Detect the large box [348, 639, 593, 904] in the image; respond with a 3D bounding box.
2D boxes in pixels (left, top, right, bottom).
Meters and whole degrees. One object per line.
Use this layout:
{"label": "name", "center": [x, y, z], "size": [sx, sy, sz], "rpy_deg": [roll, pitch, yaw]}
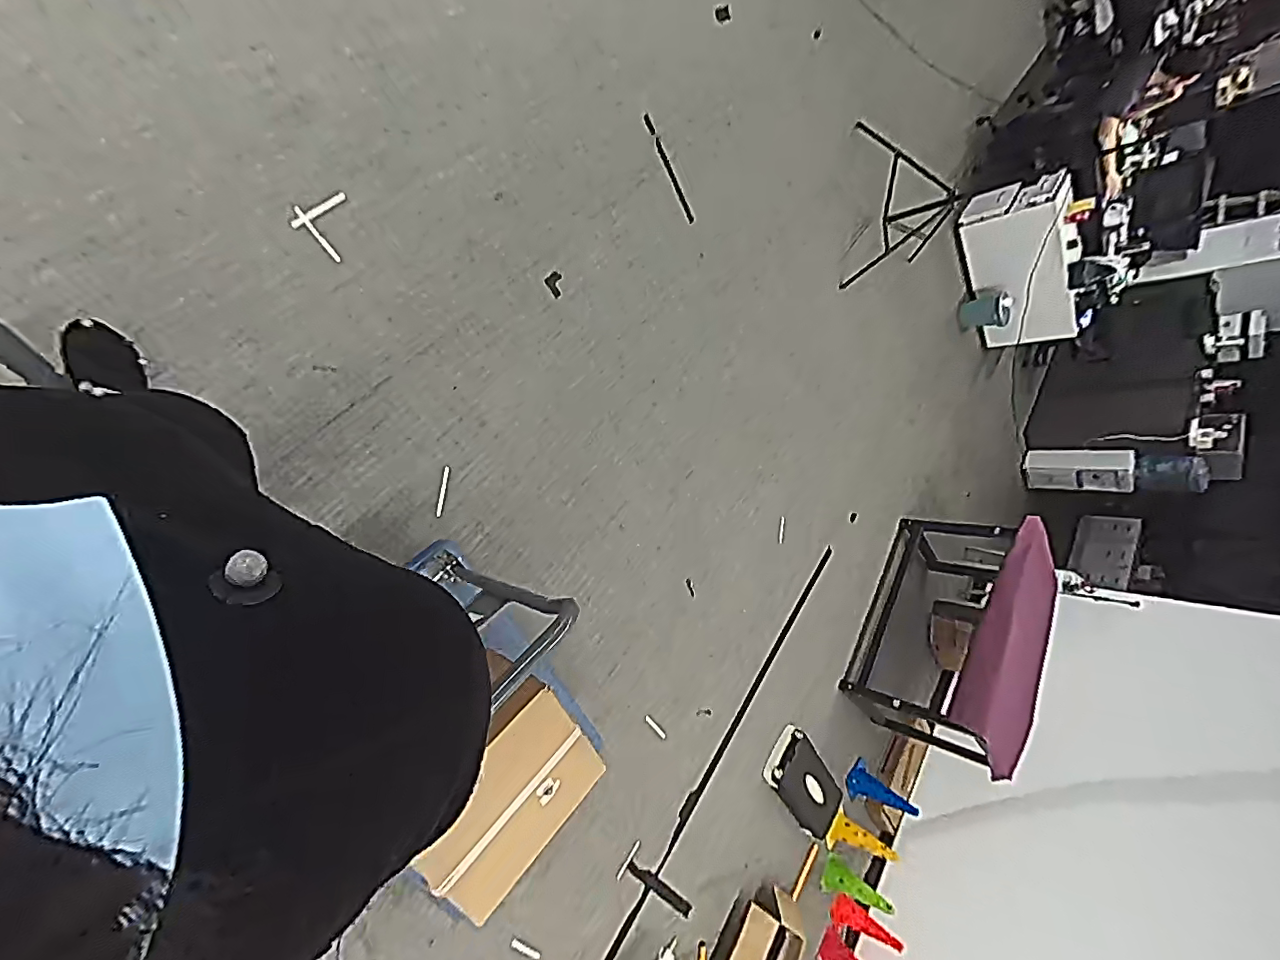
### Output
{"label": "large box", "center": [-0.398, 0.662, 1.300], "size": [0.408, 0.320, 0.320], "rpy_deg": [-43, 119, -32]}
